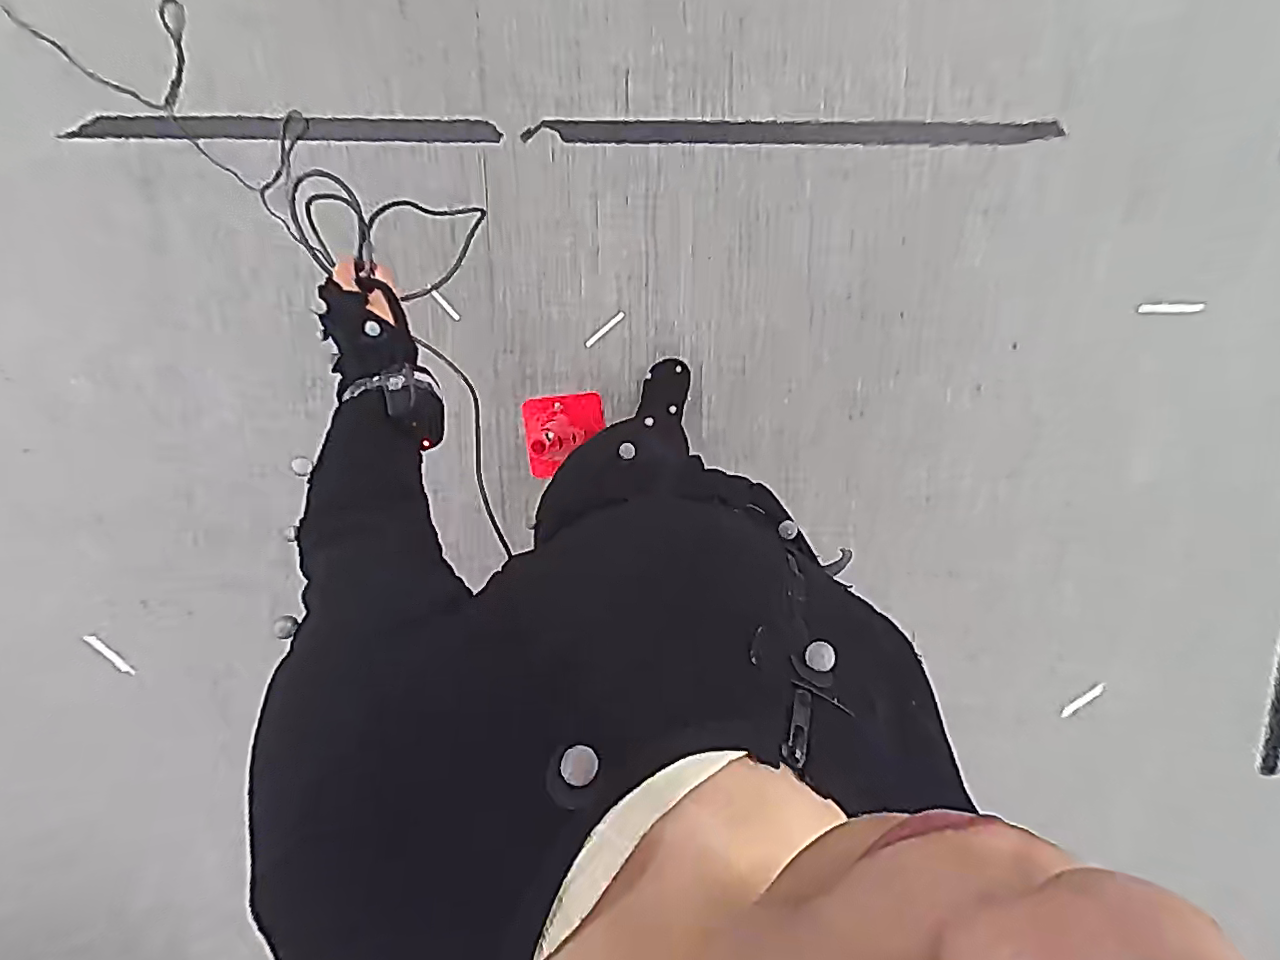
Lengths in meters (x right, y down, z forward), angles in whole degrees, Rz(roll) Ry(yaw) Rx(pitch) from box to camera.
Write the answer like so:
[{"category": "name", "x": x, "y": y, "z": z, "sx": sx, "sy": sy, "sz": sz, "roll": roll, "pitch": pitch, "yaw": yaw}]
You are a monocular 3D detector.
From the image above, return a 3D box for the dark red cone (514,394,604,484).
[{"category": "dark red cone", "x": -0.194, "y": -0.079, "z": 1.142, "sx": 0.202, "sy": 0.394, "sz": 0.201, "roll": -8, "pitch": 96, "yaw": 2}]
